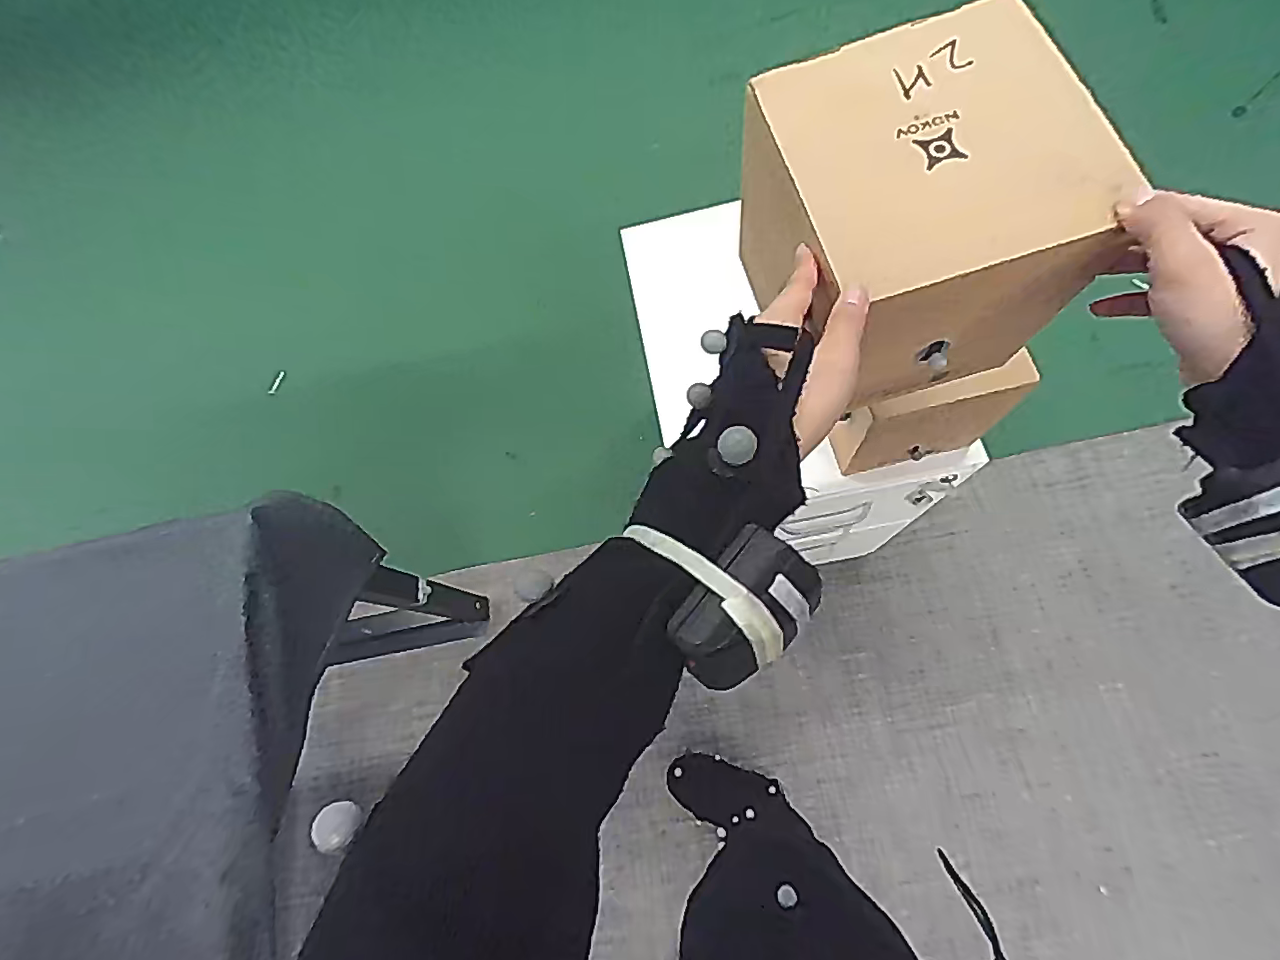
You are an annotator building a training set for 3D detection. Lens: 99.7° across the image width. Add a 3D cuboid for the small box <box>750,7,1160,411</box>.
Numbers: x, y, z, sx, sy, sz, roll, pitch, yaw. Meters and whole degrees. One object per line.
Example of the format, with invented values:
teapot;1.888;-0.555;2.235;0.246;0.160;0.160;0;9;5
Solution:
small box;0.183;-0.165;0.384;0.168;0.176;0.179;-15;72;3
